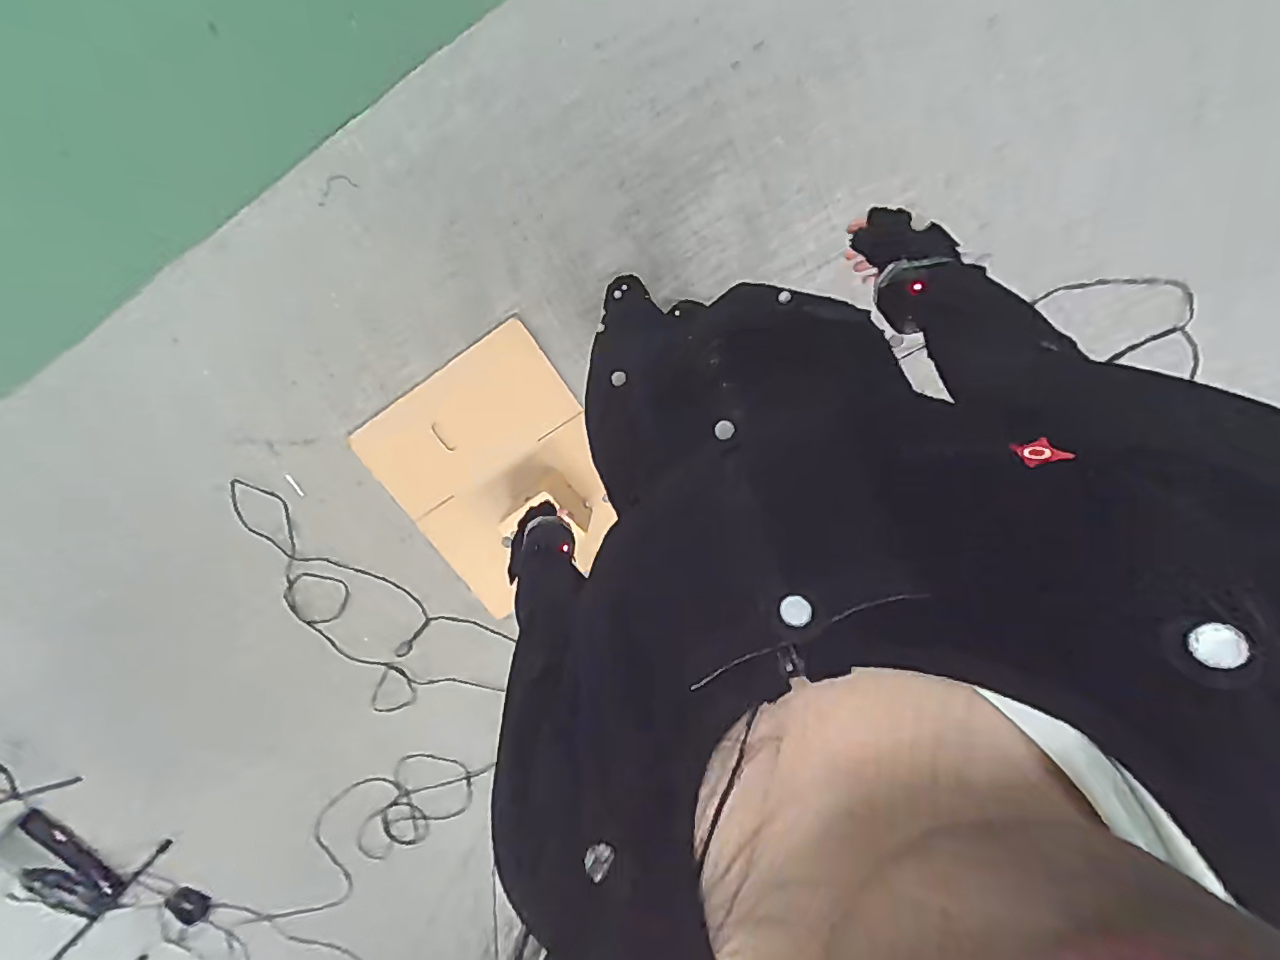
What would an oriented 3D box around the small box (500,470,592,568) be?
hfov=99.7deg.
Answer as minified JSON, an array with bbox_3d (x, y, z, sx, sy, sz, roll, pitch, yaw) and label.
[{"bbox_3d":[-0.244,0.098,1.460,0.179,0.176,0.168,-36,105,14],"label":"small box"}]
